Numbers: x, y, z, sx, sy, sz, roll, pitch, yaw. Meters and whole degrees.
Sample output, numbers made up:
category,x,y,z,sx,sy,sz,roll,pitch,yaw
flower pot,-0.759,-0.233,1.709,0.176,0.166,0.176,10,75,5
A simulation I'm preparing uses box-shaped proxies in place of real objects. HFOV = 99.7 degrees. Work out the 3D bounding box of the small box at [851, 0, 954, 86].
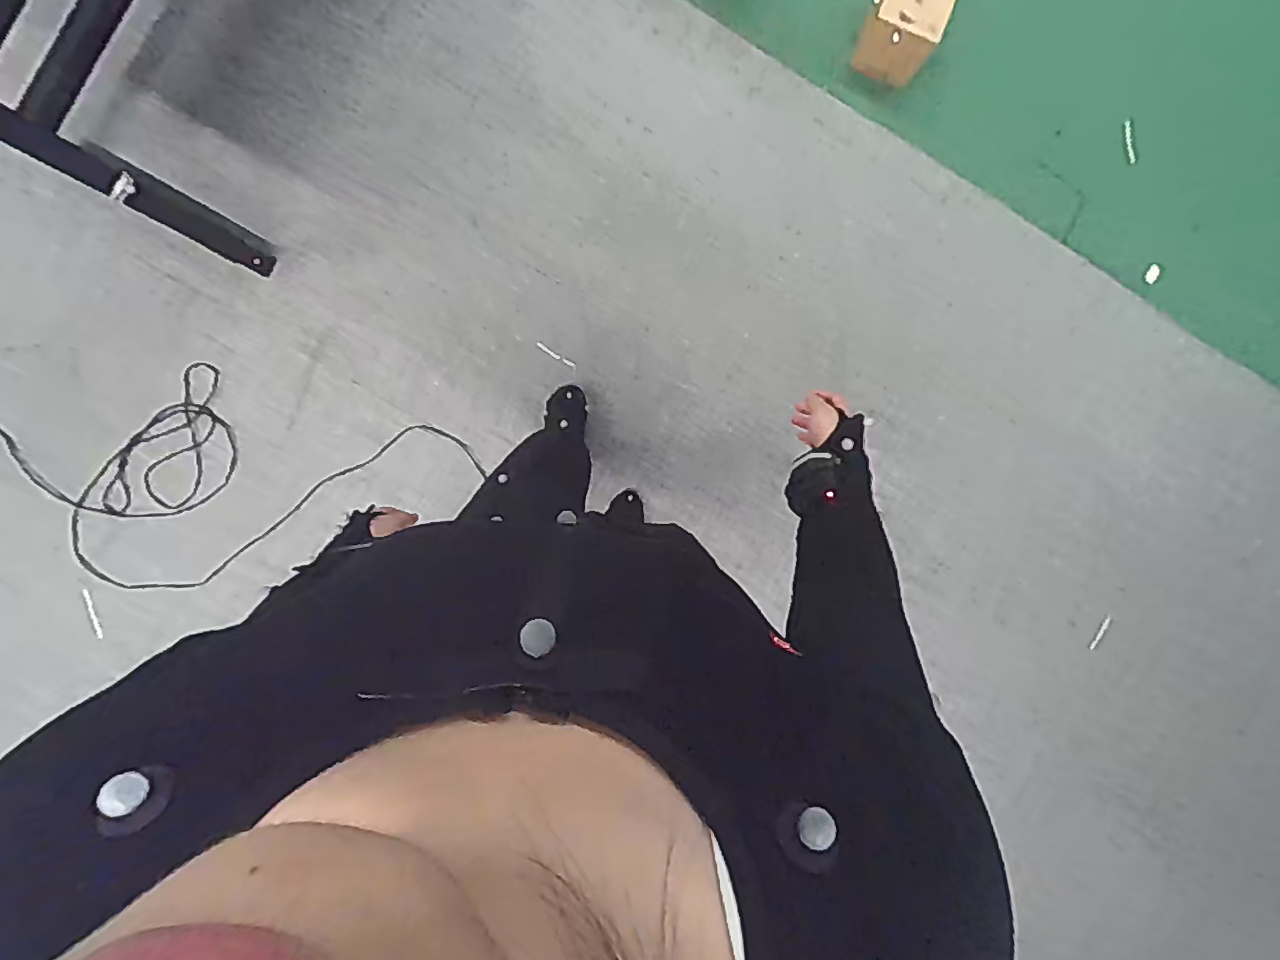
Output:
category,x,y,z,sx,sy,sz,roll,pitch,yaw
small box,0.671,-1.173,1.383,0.168,0.176,0.179,21,91,-4
